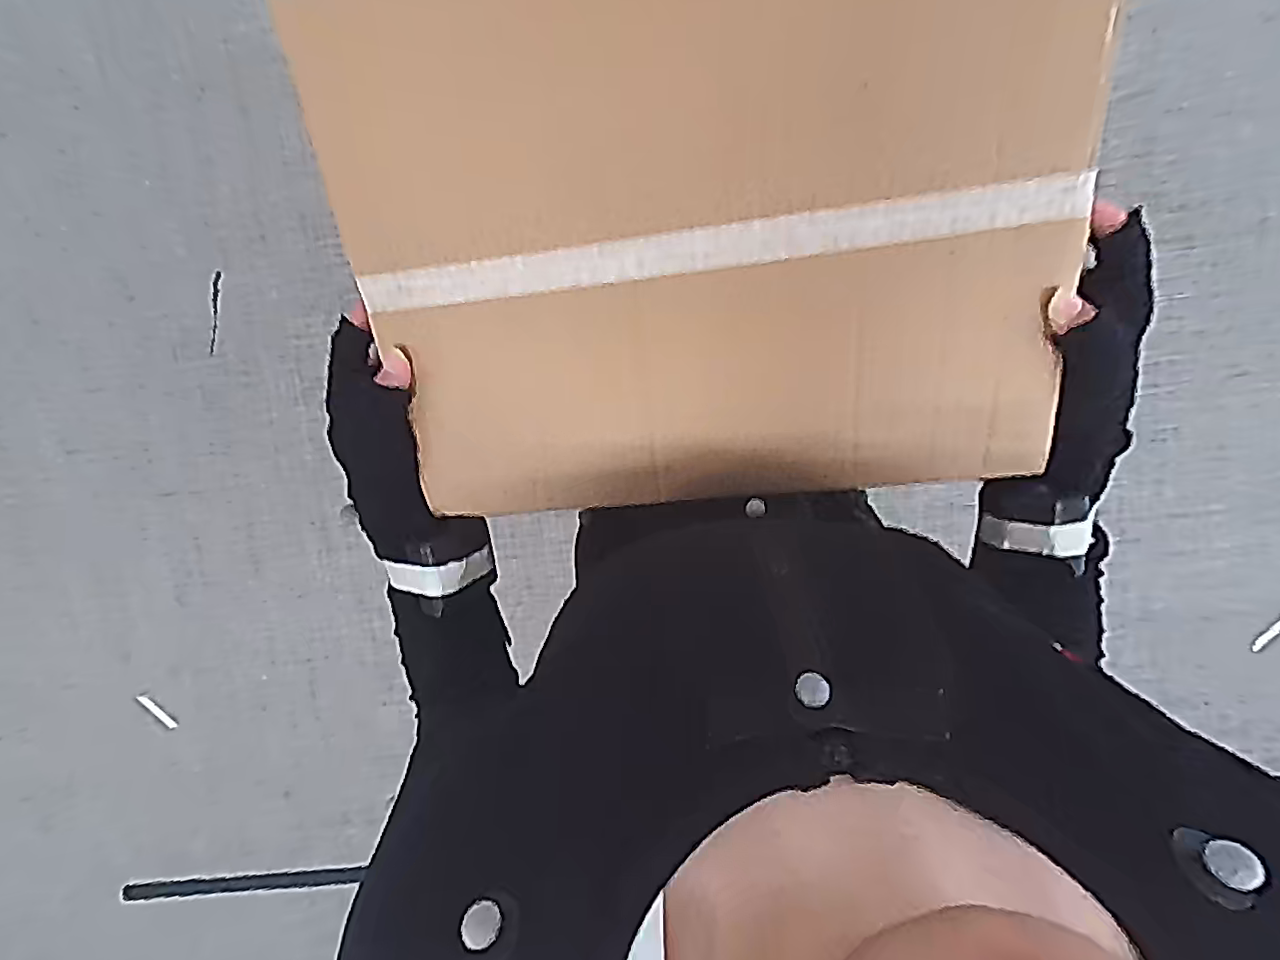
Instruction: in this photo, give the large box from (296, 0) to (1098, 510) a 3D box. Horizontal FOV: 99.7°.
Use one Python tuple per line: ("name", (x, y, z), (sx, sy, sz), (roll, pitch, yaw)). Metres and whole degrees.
("large box", (0.046, -0.194, 0.450), (0.408, 0.320, 0.320), (-5, 112, 7))
